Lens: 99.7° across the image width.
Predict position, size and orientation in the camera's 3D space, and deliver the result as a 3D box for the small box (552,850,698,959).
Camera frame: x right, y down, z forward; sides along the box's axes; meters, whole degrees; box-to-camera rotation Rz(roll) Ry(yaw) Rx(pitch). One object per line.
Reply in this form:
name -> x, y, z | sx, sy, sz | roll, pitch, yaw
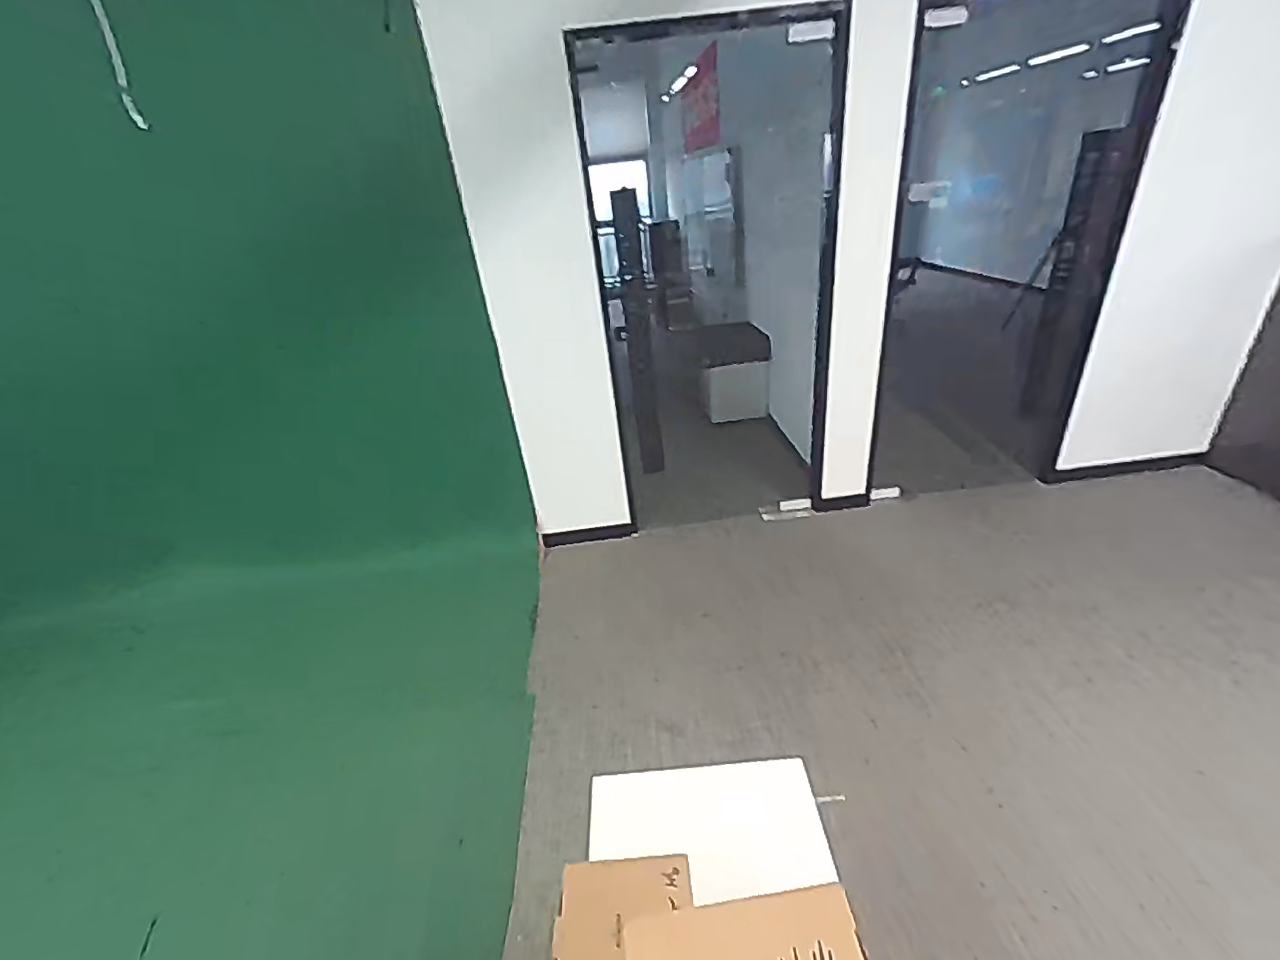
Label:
small box -> -0.013, 0.627, 0.713 | 0.179, 0.176, 0.168 | -5, 28, 1
